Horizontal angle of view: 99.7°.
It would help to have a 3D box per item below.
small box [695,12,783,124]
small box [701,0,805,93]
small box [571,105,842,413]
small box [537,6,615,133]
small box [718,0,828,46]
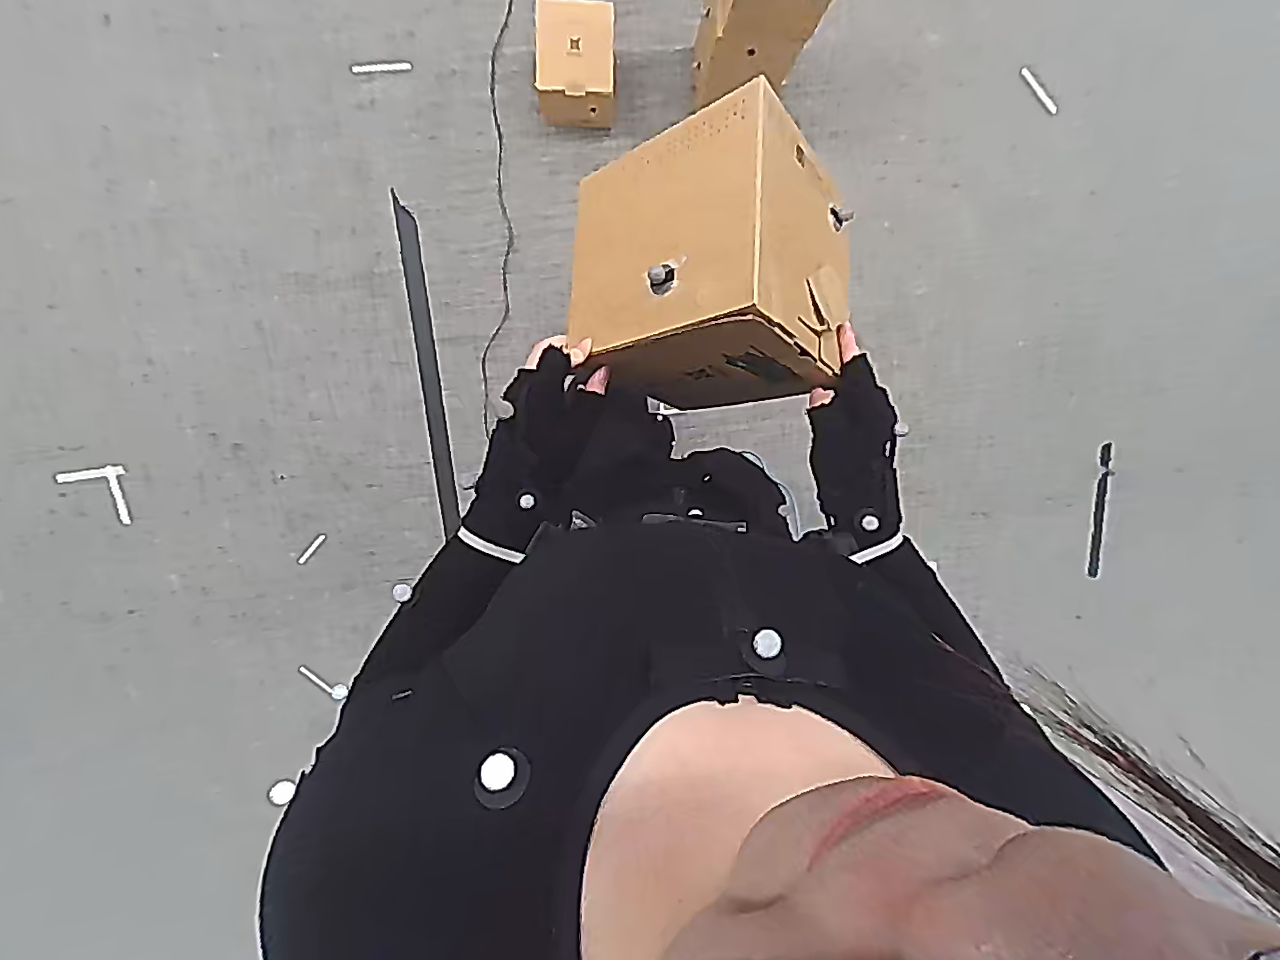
[{"bbox_3d":[0.221,-0.938,1.240,0.179,0.176,0.168,-2,101,-2],"label":"small box"},{"bbox_3d":[0.220,-0.905,1.078,0.179,0.176,0.168,0,101,-4],"label":"small box"},{"bbox_3d":[0.060,-0.169,0.468,0.179,0.168,0.176,-4,78,40],"label":"small box"},{"bbox_3d":[-0.141,-0.918,1.226,0.168,0.176,0.179,1,100,-4],"label":"small box"},{"bbox_3d":[0.231,-0.876,0.918,0.179,0.176,0.168,-3,100,-3],"label":"small box"}]
